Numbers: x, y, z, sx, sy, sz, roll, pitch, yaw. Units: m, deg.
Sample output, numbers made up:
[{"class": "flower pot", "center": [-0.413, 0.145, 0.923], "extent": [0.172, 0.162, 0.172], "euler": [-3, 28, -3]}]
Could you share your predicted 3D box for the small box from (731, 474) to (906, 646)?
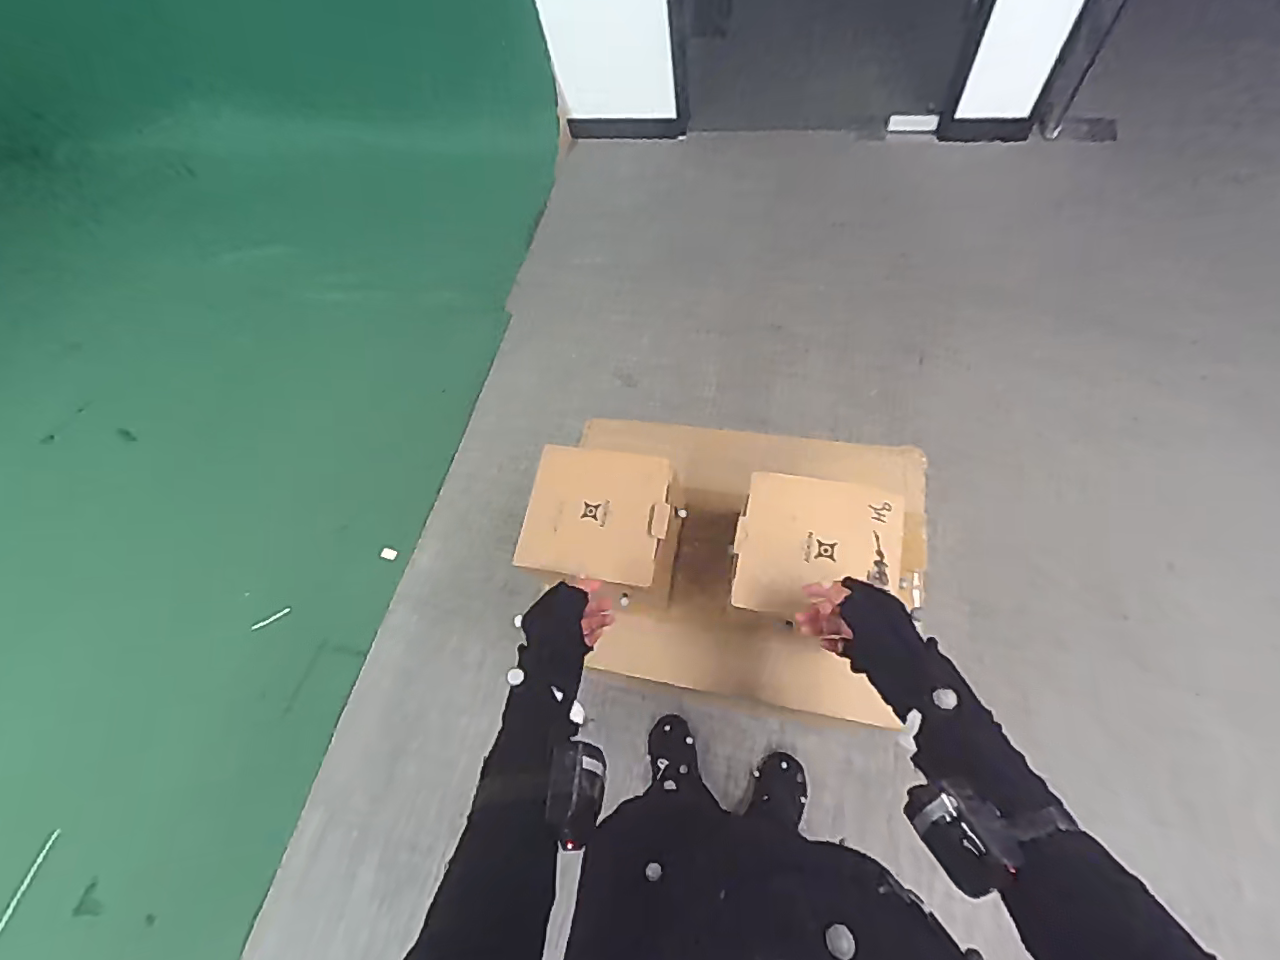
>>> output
[{"class": "small box", "center": [0.217, 0.108, 0.685], "extent": [0.179, 0.176, 0.168], "euler": [9, 71, 14]}]

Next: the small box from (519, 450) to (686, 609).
[{"class": "small box", "center": [-0.037, 0.075, 0.744], "extent": [0.179, 0.176, 0.168], "euler": [6, 69, 13]}]
